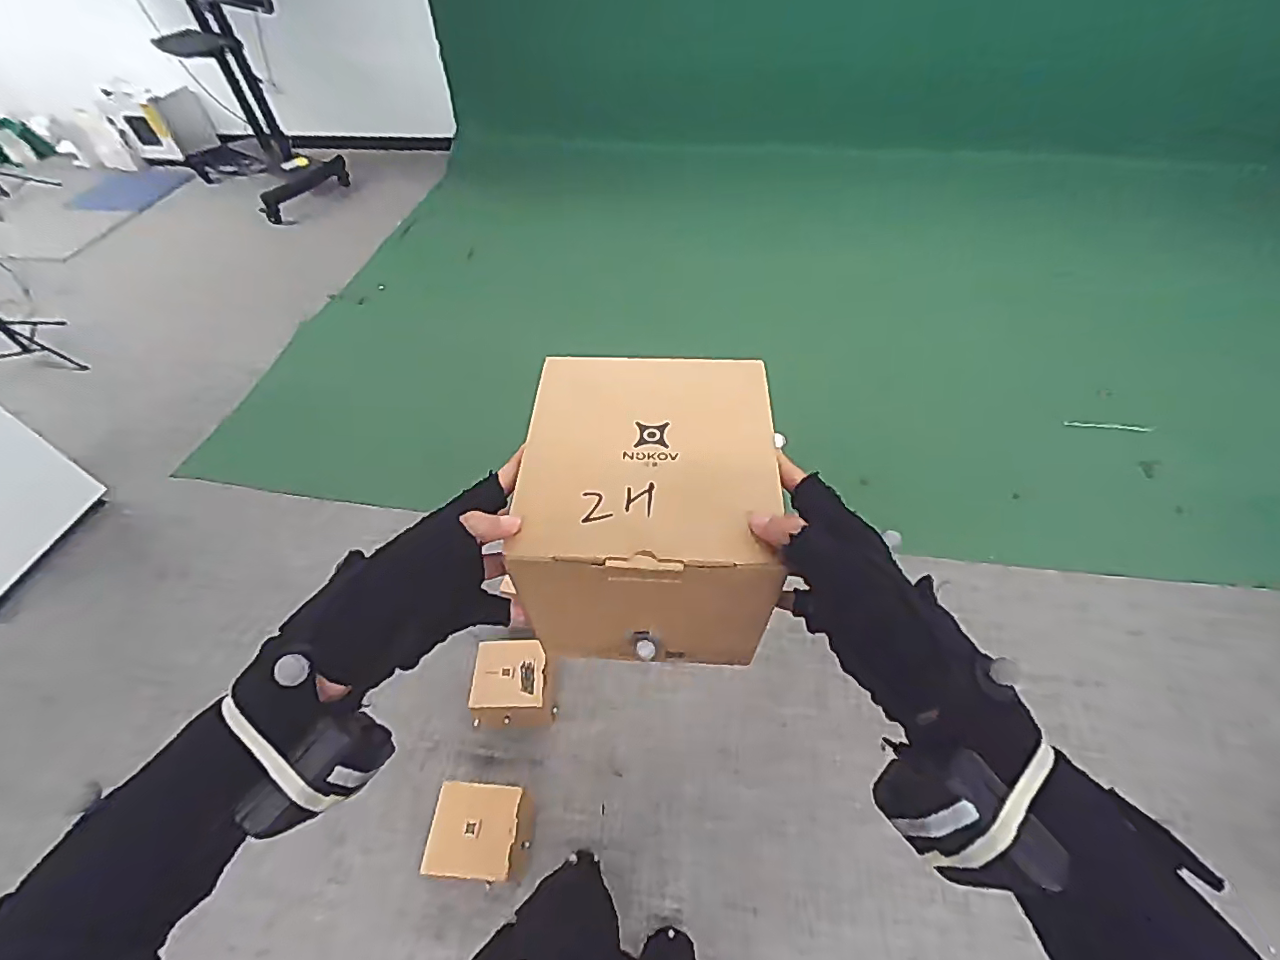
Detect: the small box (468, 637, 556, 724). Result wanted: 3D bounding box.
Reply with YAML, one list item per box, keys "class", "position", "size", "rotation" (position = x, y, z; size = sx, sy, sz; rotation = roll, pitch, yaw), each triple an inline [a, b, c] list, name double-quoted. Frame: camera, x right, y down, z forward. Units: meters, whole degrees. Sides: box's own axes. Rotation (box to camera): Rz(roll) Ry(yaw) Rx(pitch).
- class: "small box"
  position: [-0.314, 0.510, 1.372]
  size: [0.179, 0.176, 0.168]
  rotation: [-2, 50, 1]

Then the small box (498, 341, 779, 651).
- class: "small box"
  position: [0.004, 0.014, 0.422]
  size: [0.168, 0.176, 0.179]
  rotation: [1, 53, 3]

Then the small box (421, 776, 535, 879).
- class: "small box"
  position: [-0.339, 0.755, 1.172]
  size: [0.179, 0.176, 0.168]
  rotation: [2, 51, 3]
